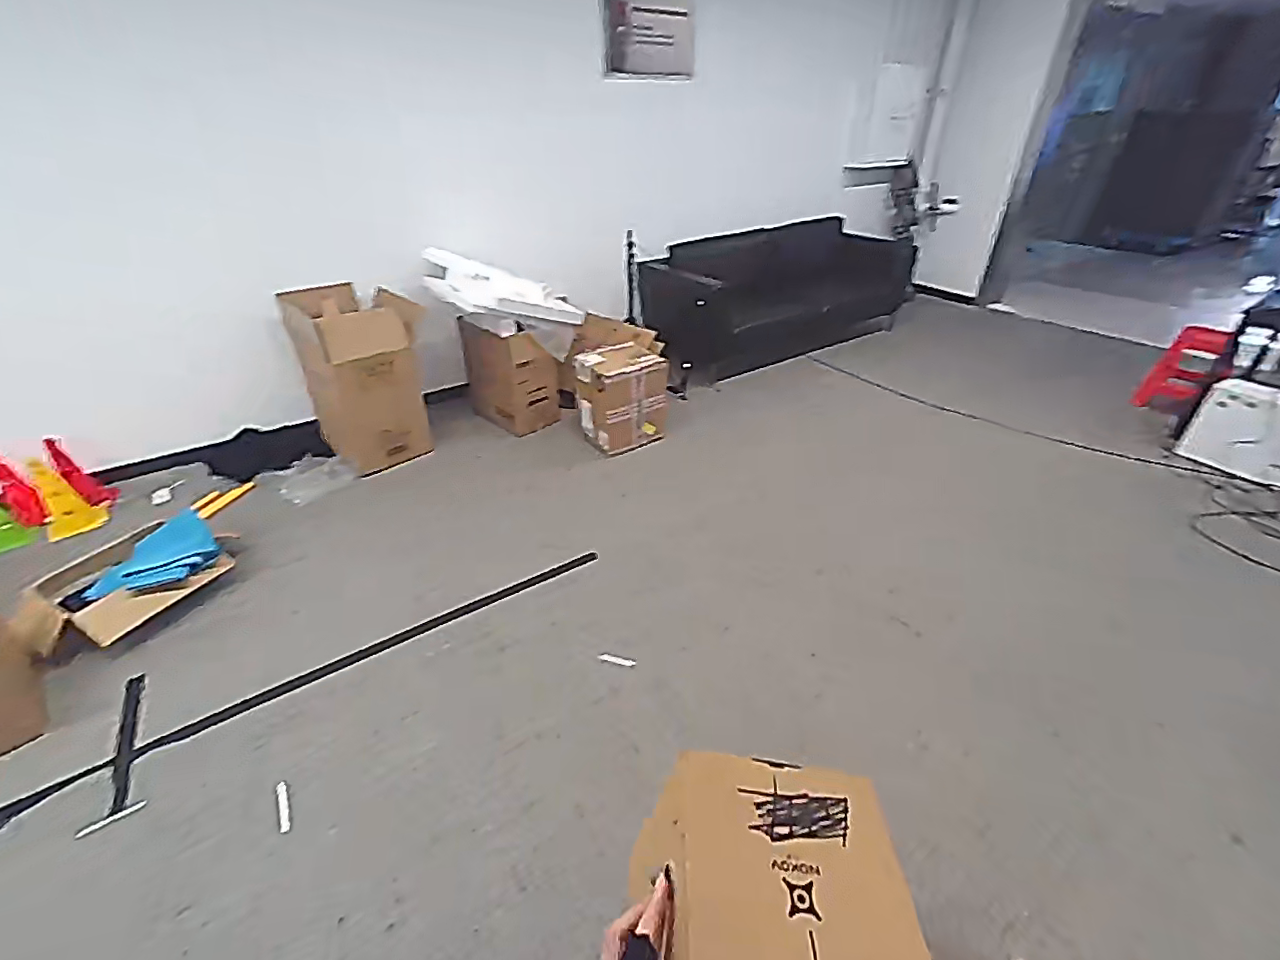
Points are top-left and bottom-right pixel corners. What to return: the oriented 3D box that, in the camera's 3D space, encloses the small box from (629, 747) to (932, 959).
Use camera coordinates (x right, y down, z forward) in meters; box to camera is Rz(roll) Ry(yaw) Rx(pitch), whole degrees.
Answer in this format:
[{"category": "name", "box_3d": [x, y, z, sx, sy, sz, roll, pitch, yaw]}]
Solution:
[{"category": "small box", "box_3d": [0.087, 0.341, 0.405, 0.168, 0.176, 0.179, 12, 29, -6]}]
